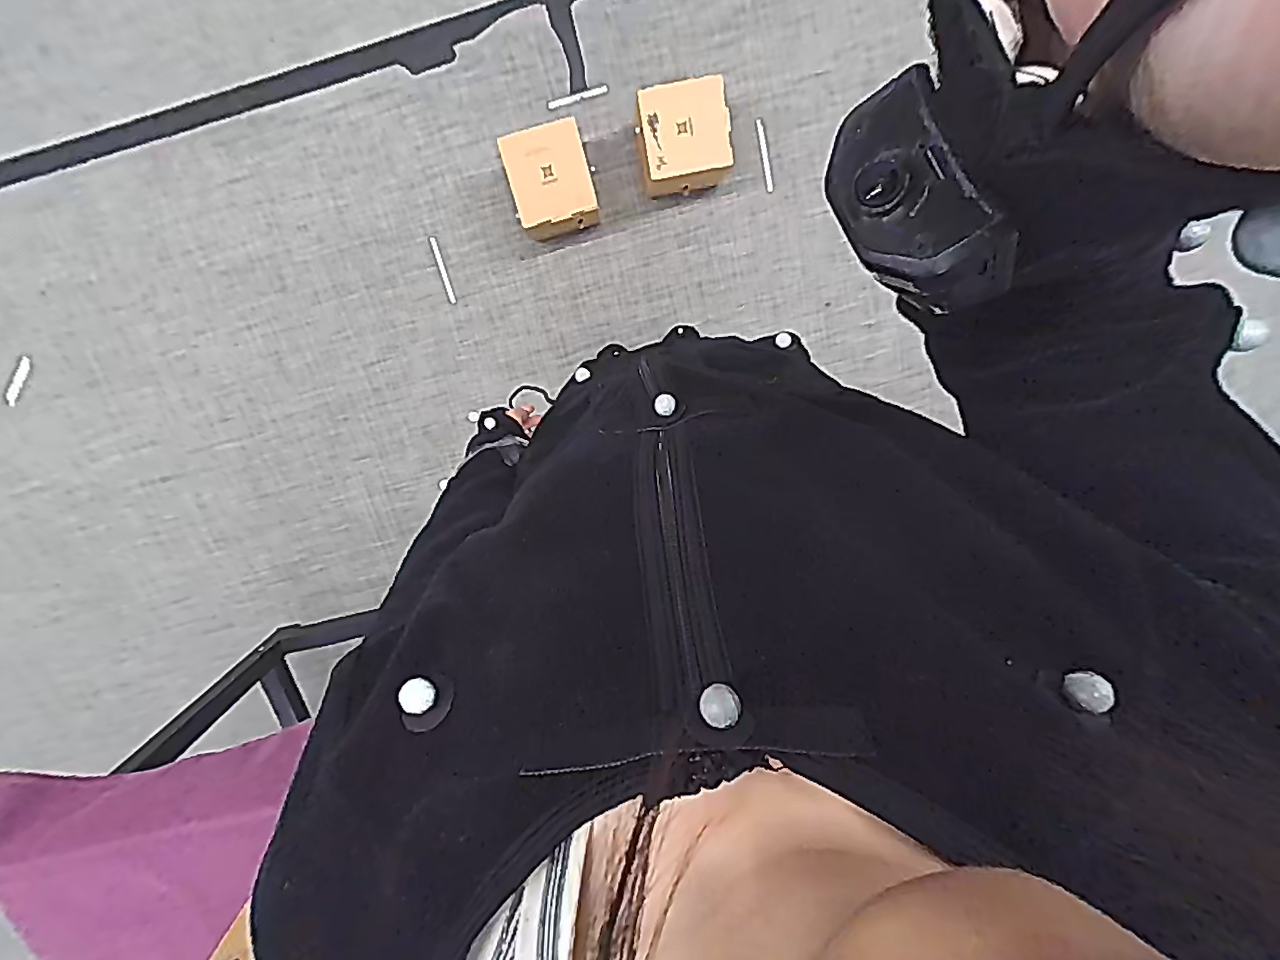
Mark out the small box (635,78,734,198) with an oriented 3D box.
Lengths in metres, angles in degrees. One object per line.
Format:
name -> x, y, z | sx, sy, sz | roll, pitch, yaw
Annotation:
small box -> 0.091, -0.724, 1.162 | 0.179, 0.176, 0.168 | -11, 107, -1

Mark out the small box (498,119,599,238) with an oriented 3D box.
small box -> -0.188, -0.639, 1.173 | 0.168, 0.176, 0.179 | -16, 105, 1
